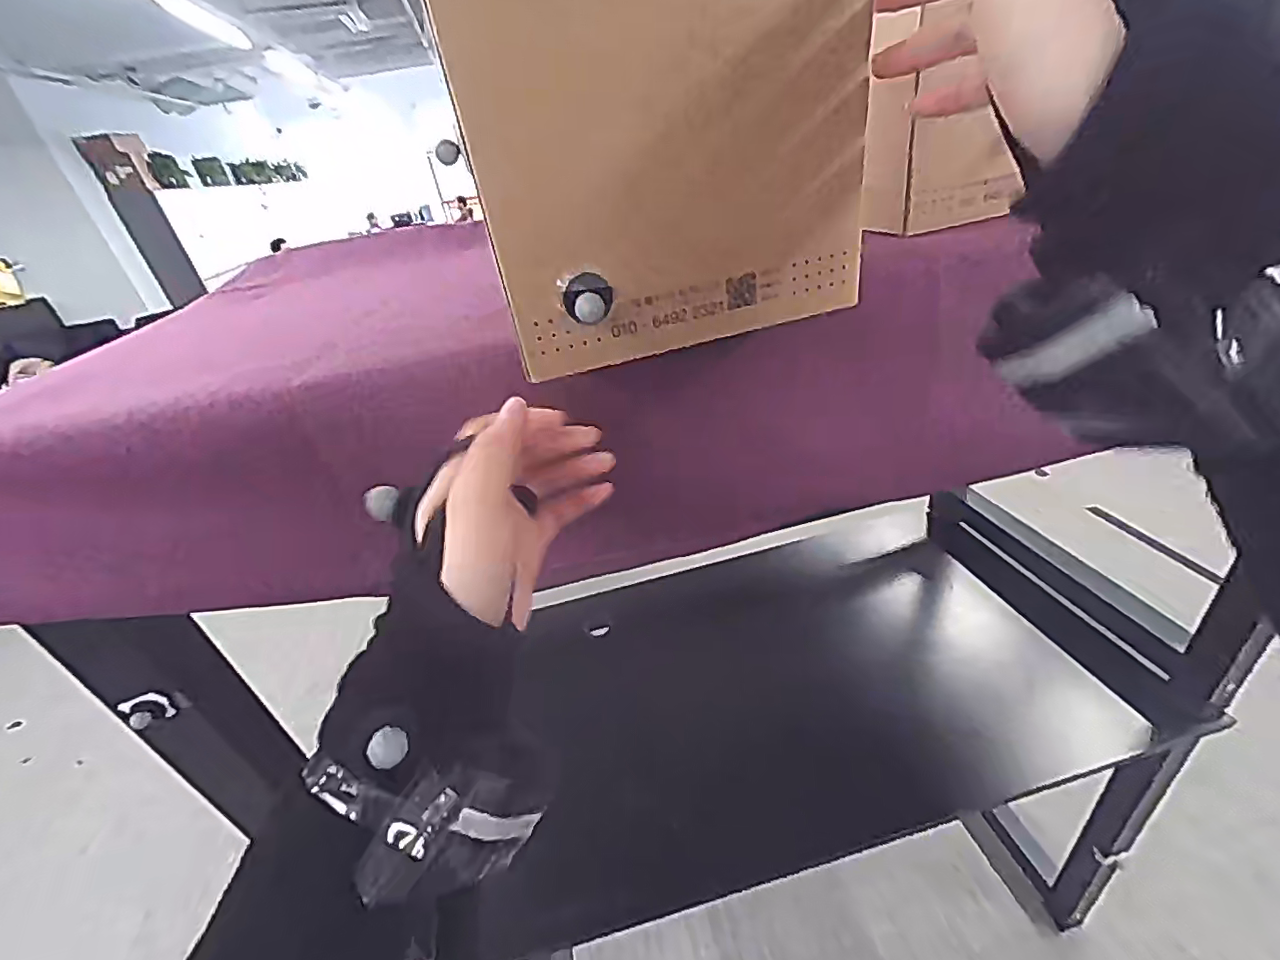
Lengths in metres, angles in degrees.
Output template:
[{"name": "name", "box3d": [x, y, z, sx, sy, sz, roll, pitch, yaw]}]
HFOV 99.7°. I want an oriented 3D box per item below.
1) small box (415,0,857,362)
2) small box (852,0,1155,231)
[{"name": "small box", "box3d": [-0.005, -0.171, 0.277, 0.168, 0.176, 0.179, -15, 31, -8]}, {"name": "small box", "box3d": [0.224, -0.293, 0.407, 0.168, 0.176, 0.179, -15, 31, -7]}]
